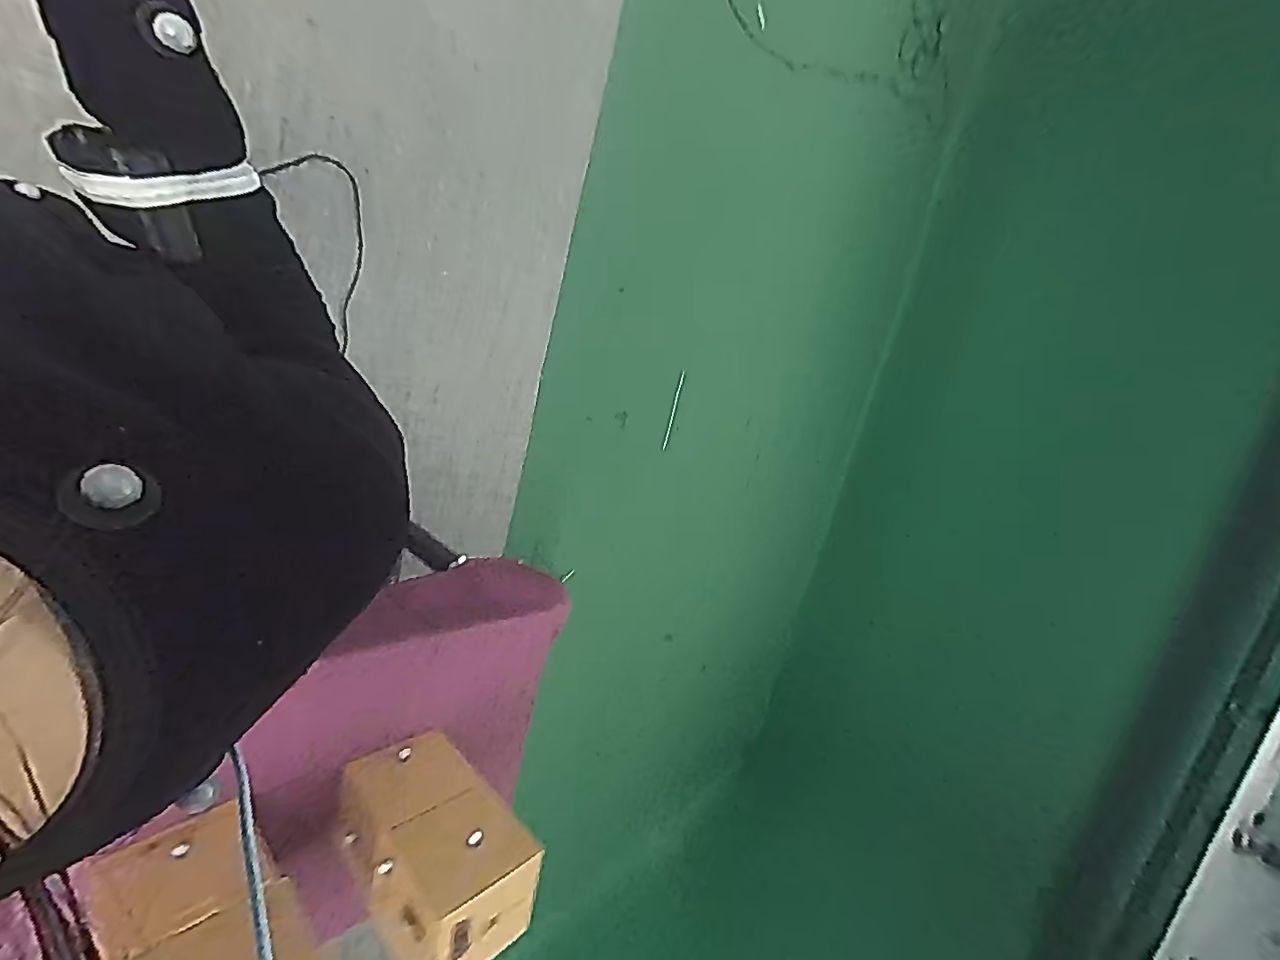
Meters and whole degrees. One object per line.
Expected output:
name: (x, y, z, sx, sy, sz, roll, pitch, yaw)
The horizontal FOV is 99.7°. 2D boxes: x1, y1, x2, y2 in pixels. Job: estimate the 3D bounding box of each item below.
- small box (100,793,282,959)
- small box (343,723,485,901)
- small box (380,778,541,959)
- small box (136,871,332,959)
small box: (-0.603, 0.579, 0.734, 0.168, 0.176, 0.179, -10, 114, -47)
small box: (-0.405, 0.572, 0.959, 0.179, 0.176, 0.168, -3, 110, -48)
small box: (-0.287, 0.621, 0.855, 0.179, 0.176, 0.168, -3, 109, -50)
small box: (-0.482, 0.626, 0.634, 0.179, 0.176, 0.168, -8, 114, -48)
